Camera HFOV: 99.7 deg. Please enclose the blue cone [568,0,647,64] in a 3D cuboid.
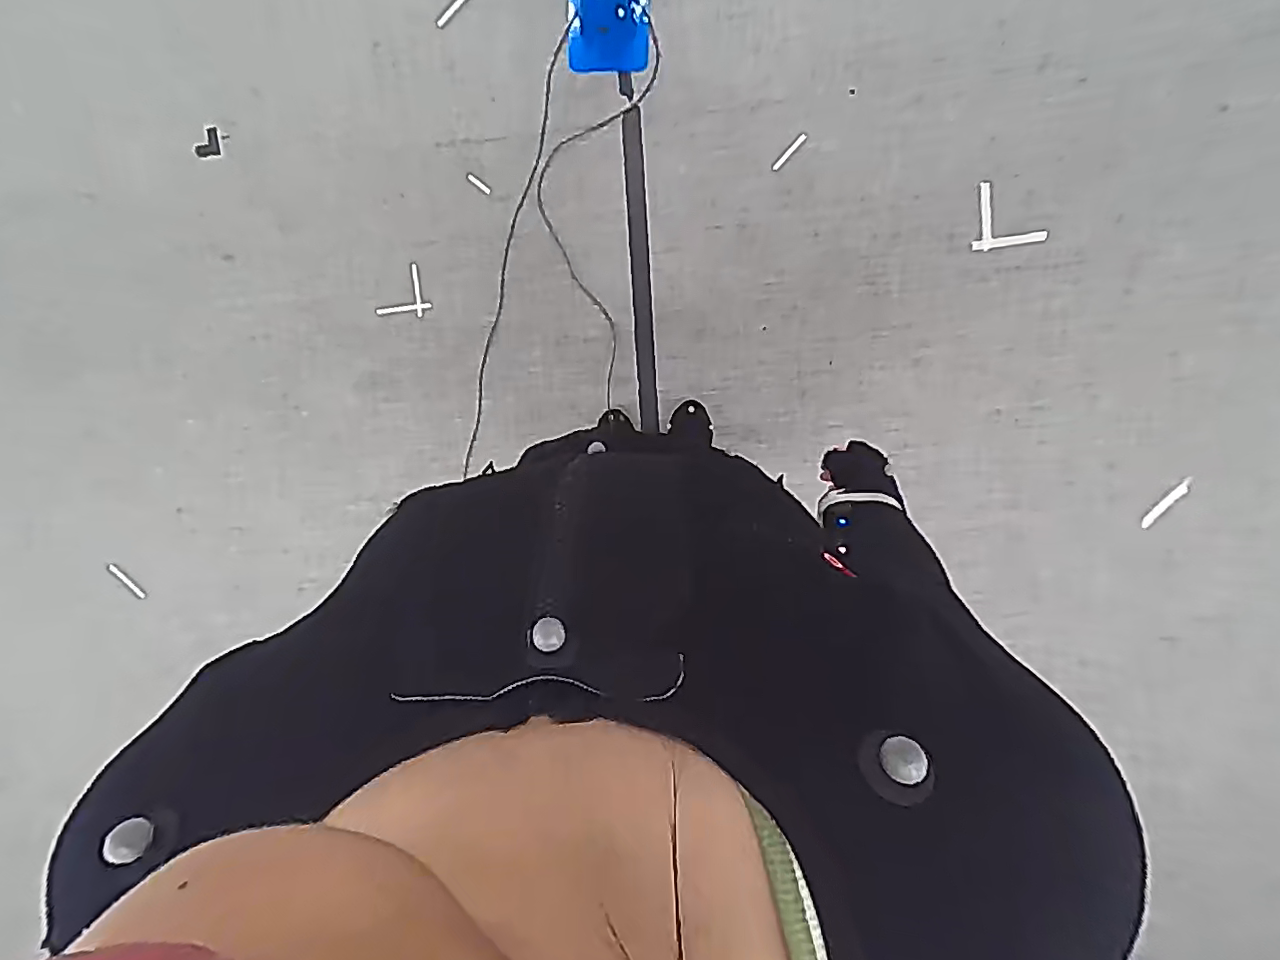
[{"bbox_3d":[-0.091,-1.083,1.137,0.193,0.380,0.192,0,99,4],"label":"blue cone"}]
